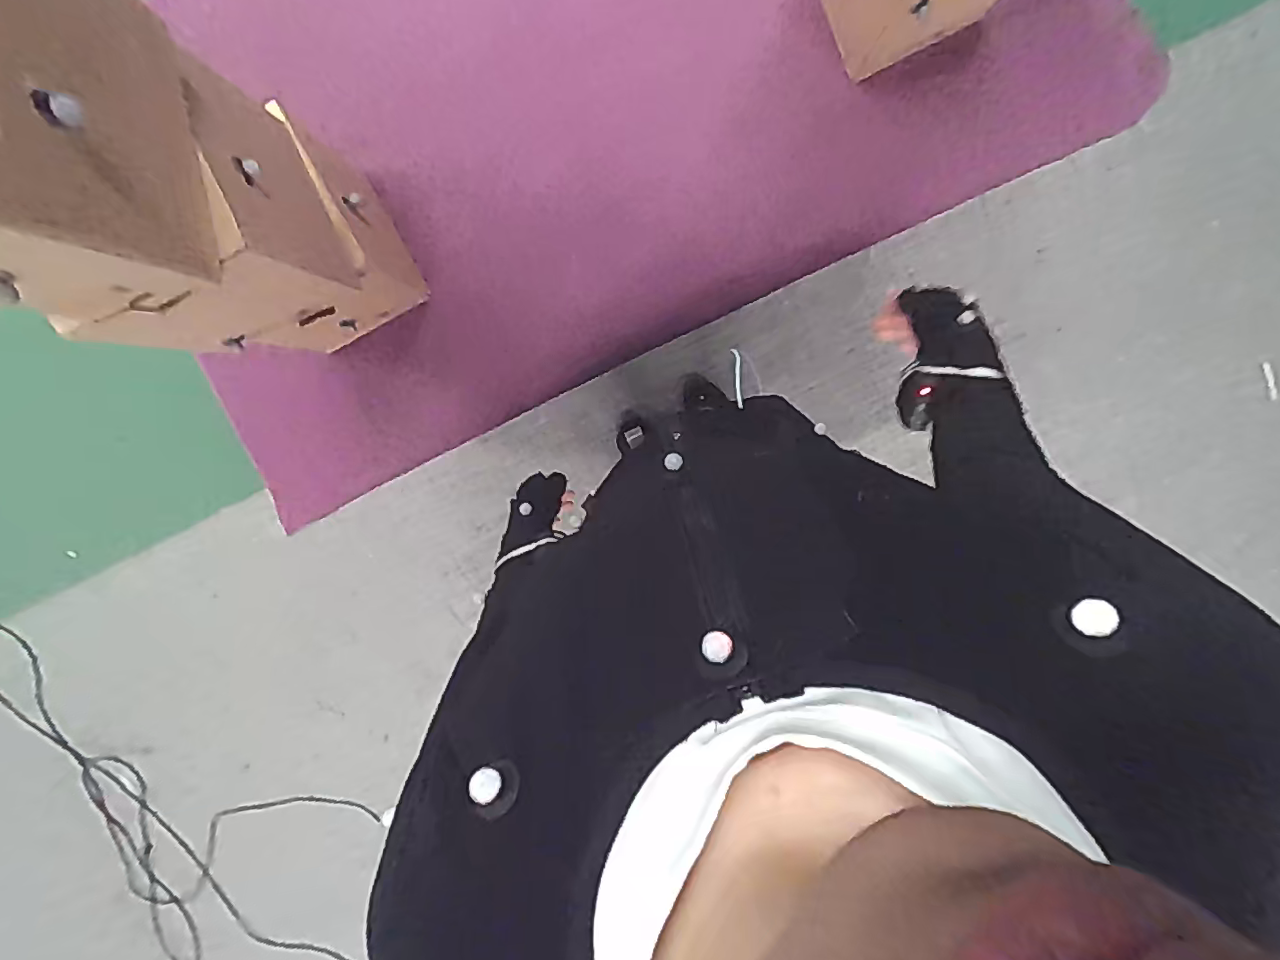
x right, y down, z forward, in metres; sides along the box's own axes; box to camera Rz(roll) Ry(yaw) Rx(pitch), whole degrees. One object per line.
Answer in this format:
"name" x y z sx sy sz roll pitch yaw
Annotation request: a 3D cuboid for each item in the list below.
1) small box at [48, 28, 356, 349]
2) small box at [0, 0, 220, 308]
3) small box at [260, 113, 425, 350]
"small box" -0.391 -0.224 0.473 0.168 0.176 0.179 -22 98 3
"small box" -0.392 -0.199 0.311 0.168 0.176 0.179 -5 101 0
"small box" -0.389 -0.268 0.632 0.168 0.176 0.179 -27 99 4
